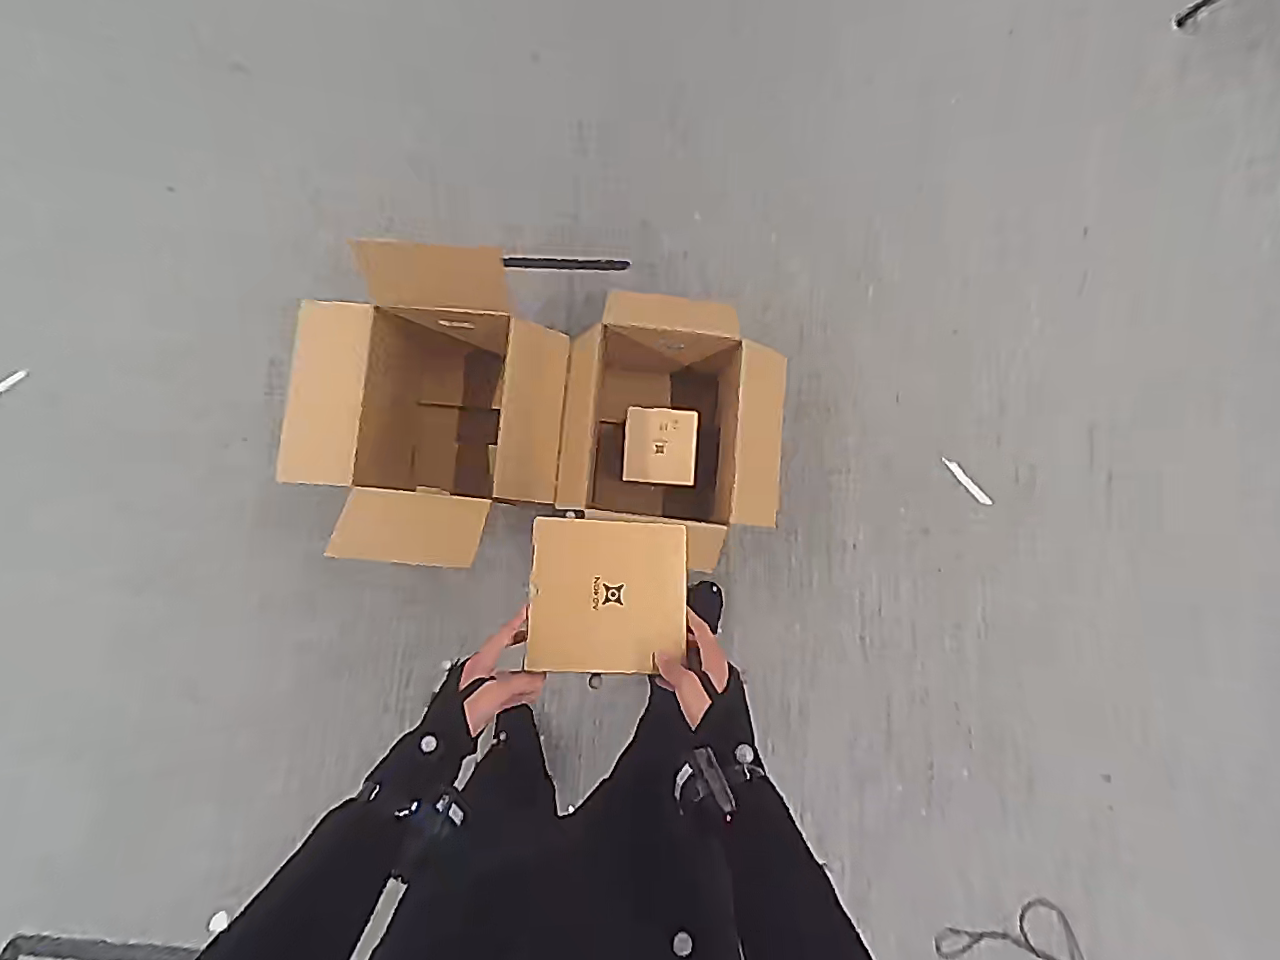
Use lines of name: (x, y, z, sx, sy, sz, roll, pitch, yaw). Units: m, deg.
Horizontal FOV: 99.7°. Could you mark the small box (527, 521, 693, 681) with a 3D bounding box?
small box: (-0.038, 0.150, 0.663, 0.179, 0.176, 0.168, 4, 73, -6)
